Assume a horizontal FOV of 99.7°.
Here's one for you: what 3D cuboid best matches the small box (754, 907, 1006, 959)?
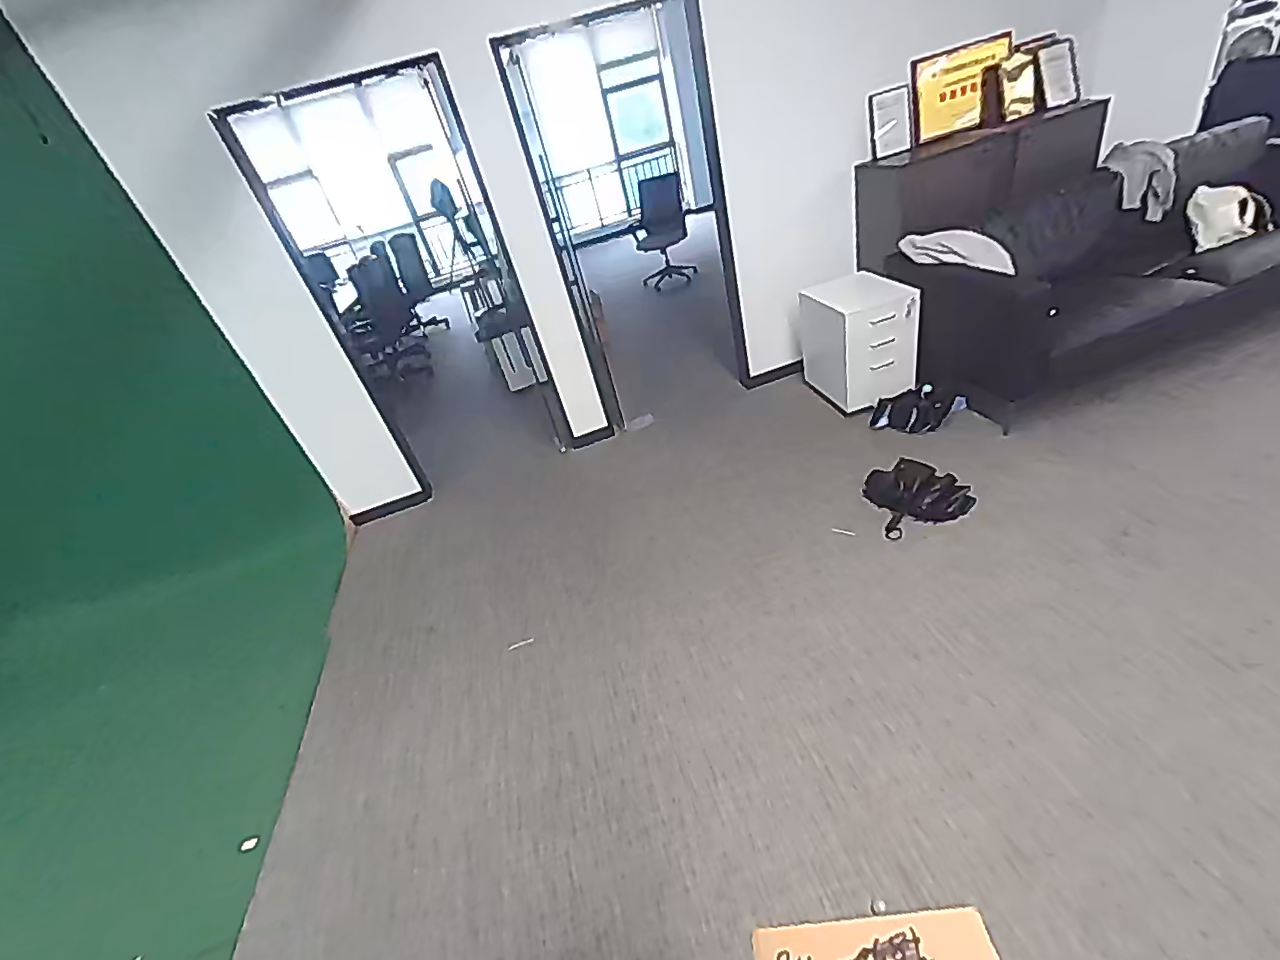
[{"bbox_3d":[0.184,0.430,0.370,0.168,0.176,0.179,-12,36,7],"label":"small box"}]
